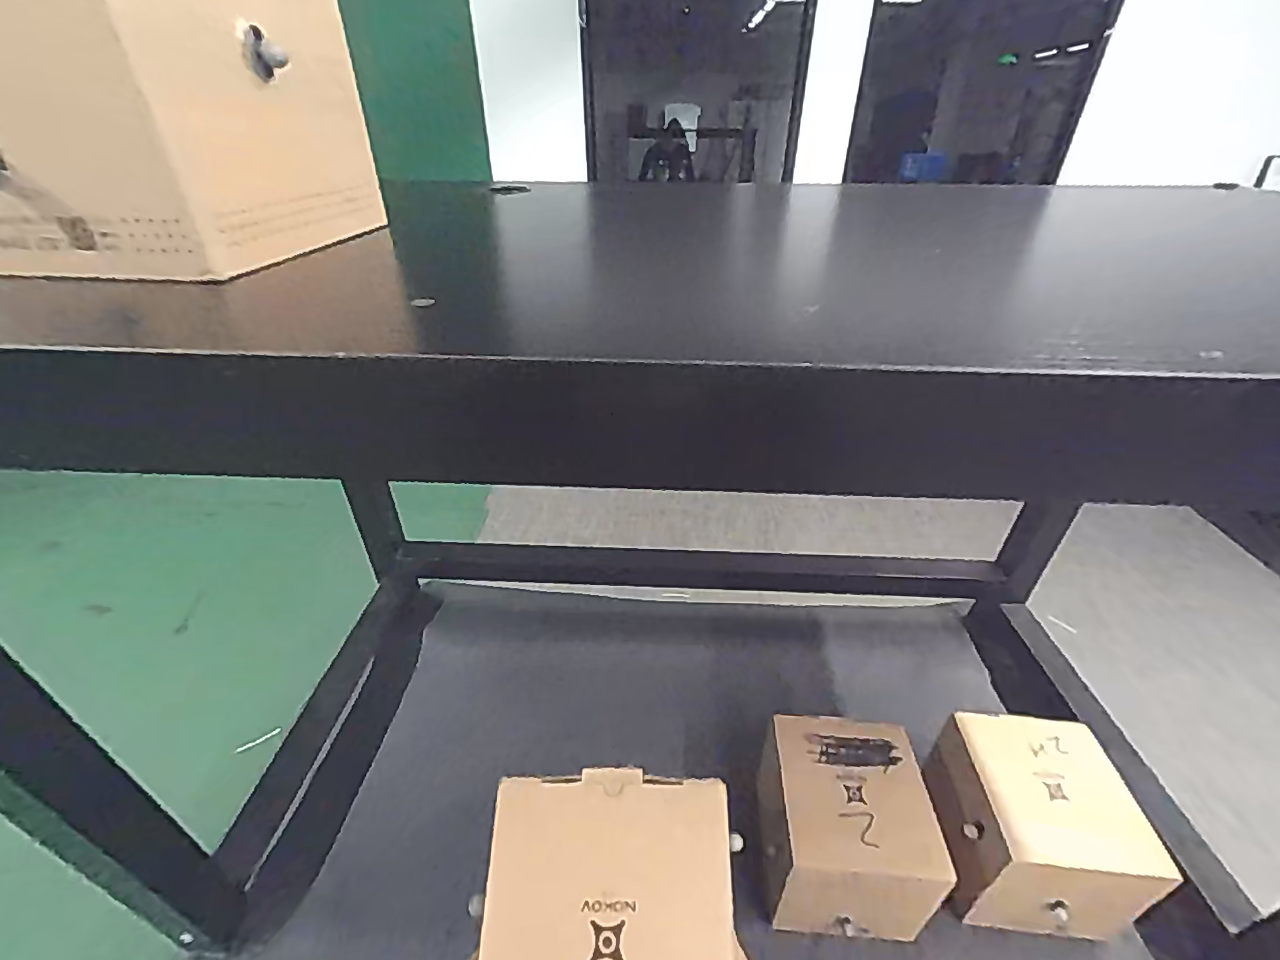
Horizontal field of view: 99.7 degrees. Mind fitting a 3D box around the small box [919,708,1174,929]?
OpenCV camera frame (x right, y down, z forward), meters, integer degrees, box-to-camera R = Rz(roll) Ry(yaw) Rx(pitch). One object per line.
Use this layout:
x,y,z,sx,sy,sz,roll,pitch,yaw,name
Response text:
0.475,0.416,0.669,0.168,0.176,0.179,4,33,5,small box
